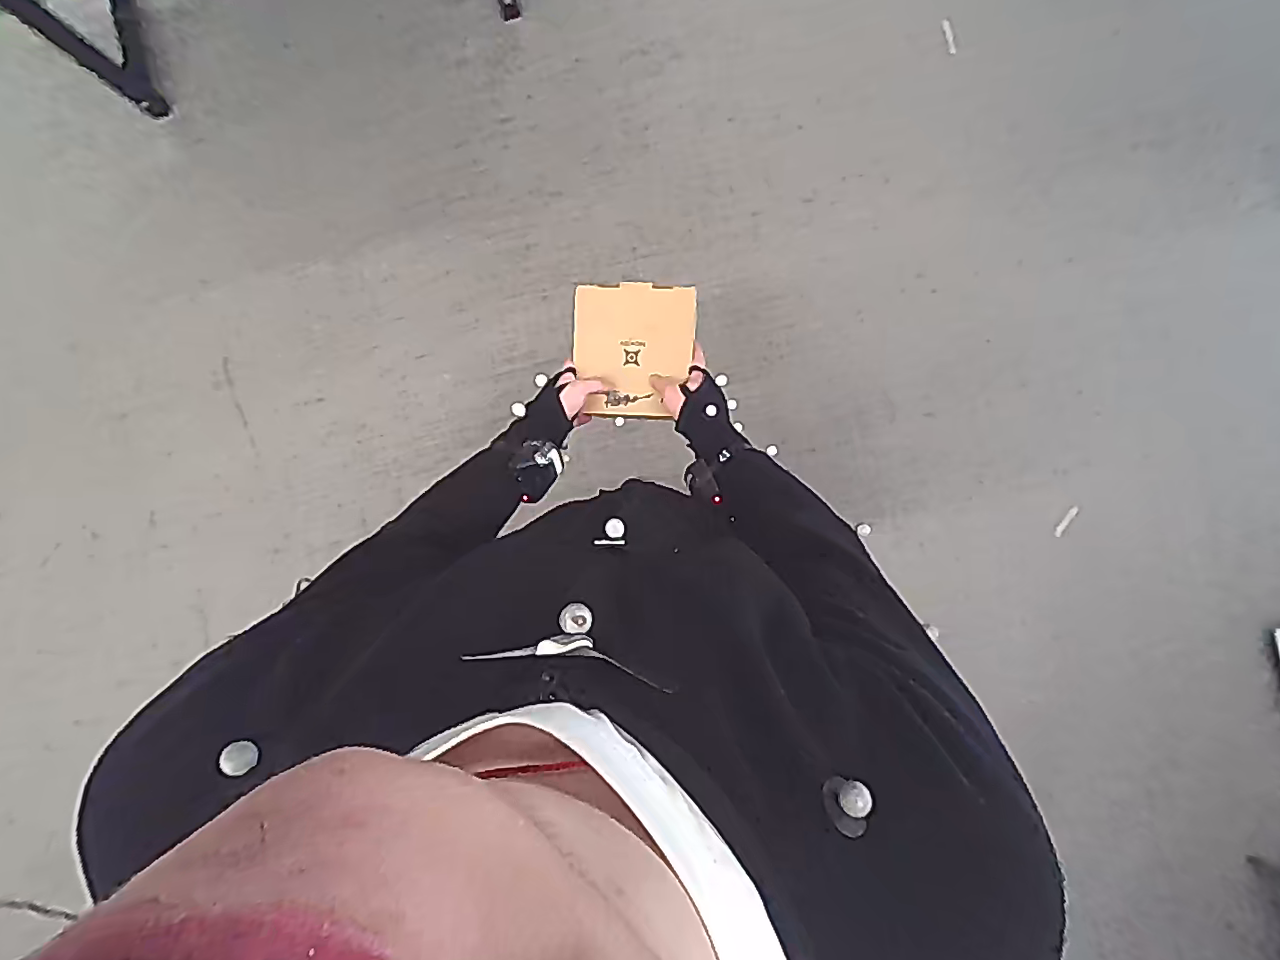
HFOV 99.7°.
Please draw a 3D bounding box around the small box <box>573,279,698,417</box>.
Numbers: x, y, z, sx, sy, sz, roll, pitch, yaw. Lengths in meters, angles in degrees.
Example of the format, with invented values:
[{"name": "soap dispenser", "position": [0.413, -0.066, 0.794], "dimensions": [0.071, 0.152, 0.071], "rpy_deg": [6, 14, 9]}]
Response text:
[{"name": "small box", "position": [-0.001, -0.189, 0.814], "dimensions": [0.168, 0.176, 0.179], "rpy_deg": [3, 96, 5]}]
